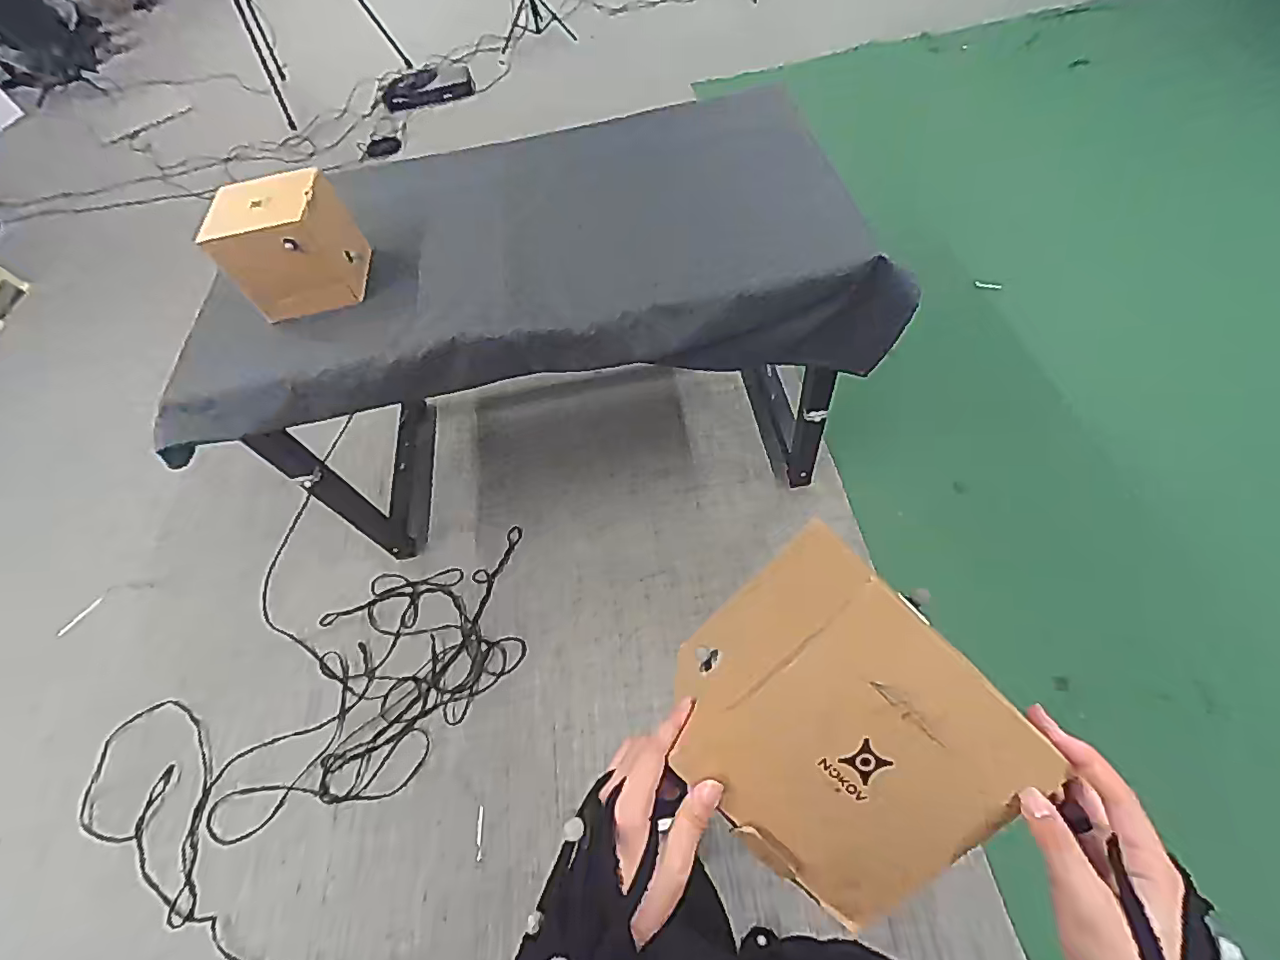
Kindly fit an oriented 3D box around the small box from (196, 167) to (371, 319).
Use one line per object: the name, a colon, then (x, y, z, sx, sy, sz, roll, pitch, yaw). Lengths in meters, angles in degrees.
small box: (-0.608, -0.406, 0.946, 0.179, 0.176, 0.168, -12, 58, 1)
